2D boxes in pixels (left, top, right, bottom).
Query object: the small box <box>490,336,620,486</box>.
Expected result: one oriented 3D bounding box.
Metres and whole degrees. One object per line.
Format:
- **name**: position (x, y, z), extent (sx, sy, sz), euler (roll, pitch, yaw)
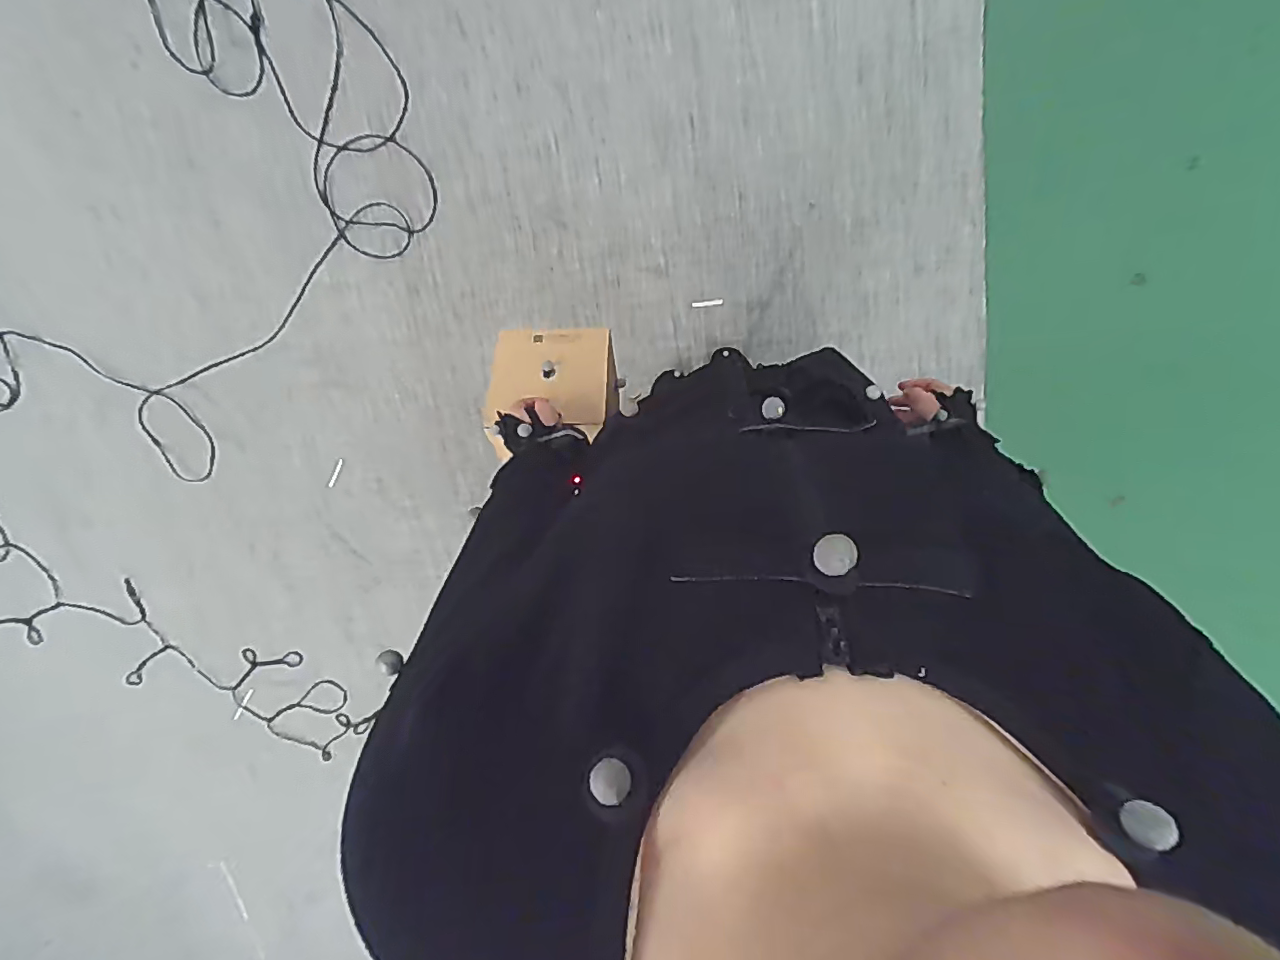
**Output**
- **small box**: position (-0.120, -0.106, 0.829), extent (0.168, 0.179, 0.176), euler (-2, 64, 3)
